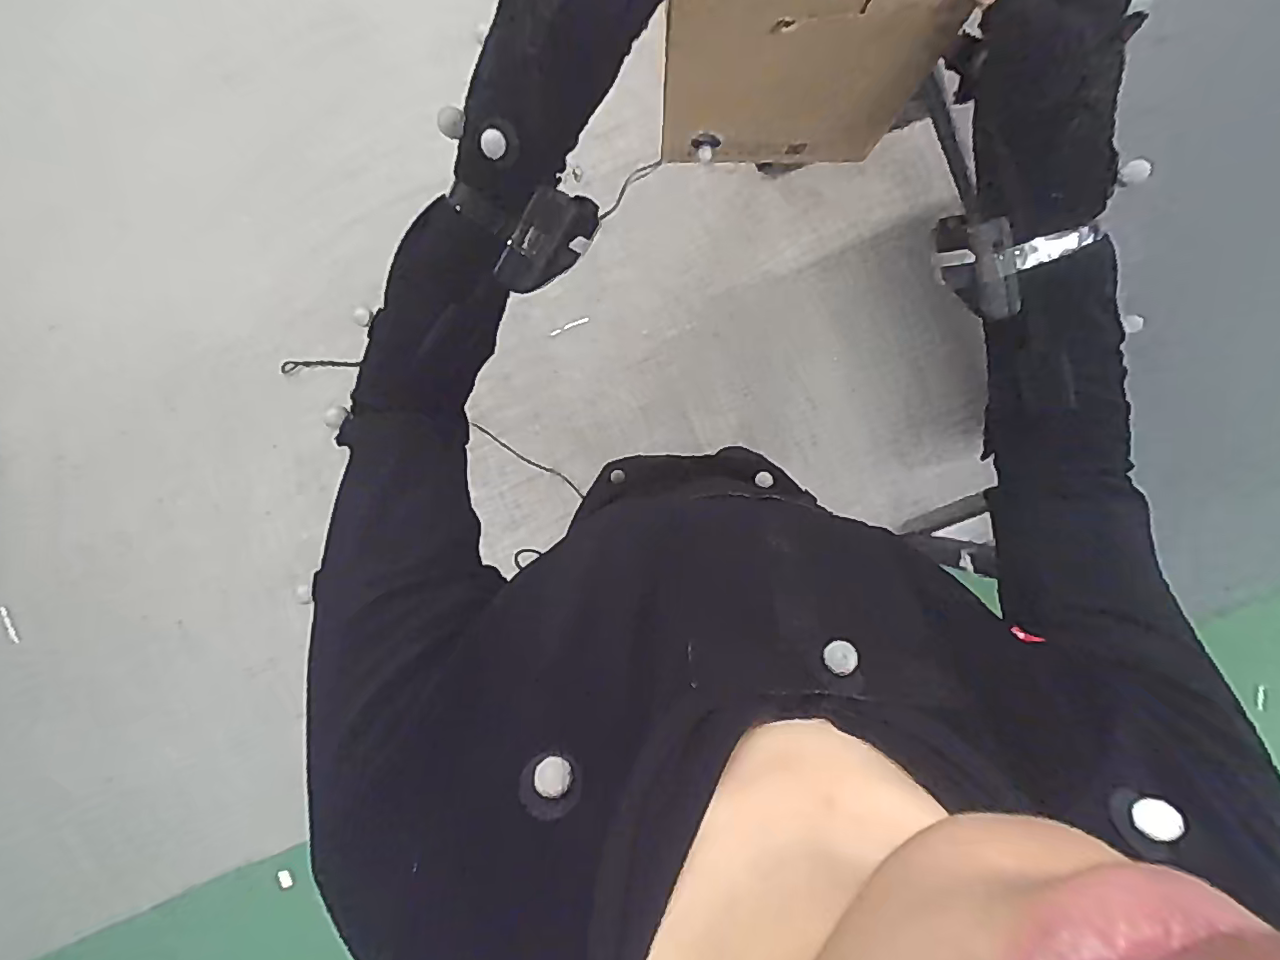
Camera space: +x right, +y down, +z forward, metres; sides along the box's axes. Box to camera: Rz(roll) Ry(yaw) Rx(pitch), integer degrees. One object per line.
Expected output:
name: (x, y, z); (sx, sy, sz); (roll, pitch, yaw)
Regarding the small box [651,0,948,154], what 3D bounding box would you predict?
small box: (0.092, -0.340, 0.351); (0.168, 0.176, 0.179); (-1, 92, 0)
